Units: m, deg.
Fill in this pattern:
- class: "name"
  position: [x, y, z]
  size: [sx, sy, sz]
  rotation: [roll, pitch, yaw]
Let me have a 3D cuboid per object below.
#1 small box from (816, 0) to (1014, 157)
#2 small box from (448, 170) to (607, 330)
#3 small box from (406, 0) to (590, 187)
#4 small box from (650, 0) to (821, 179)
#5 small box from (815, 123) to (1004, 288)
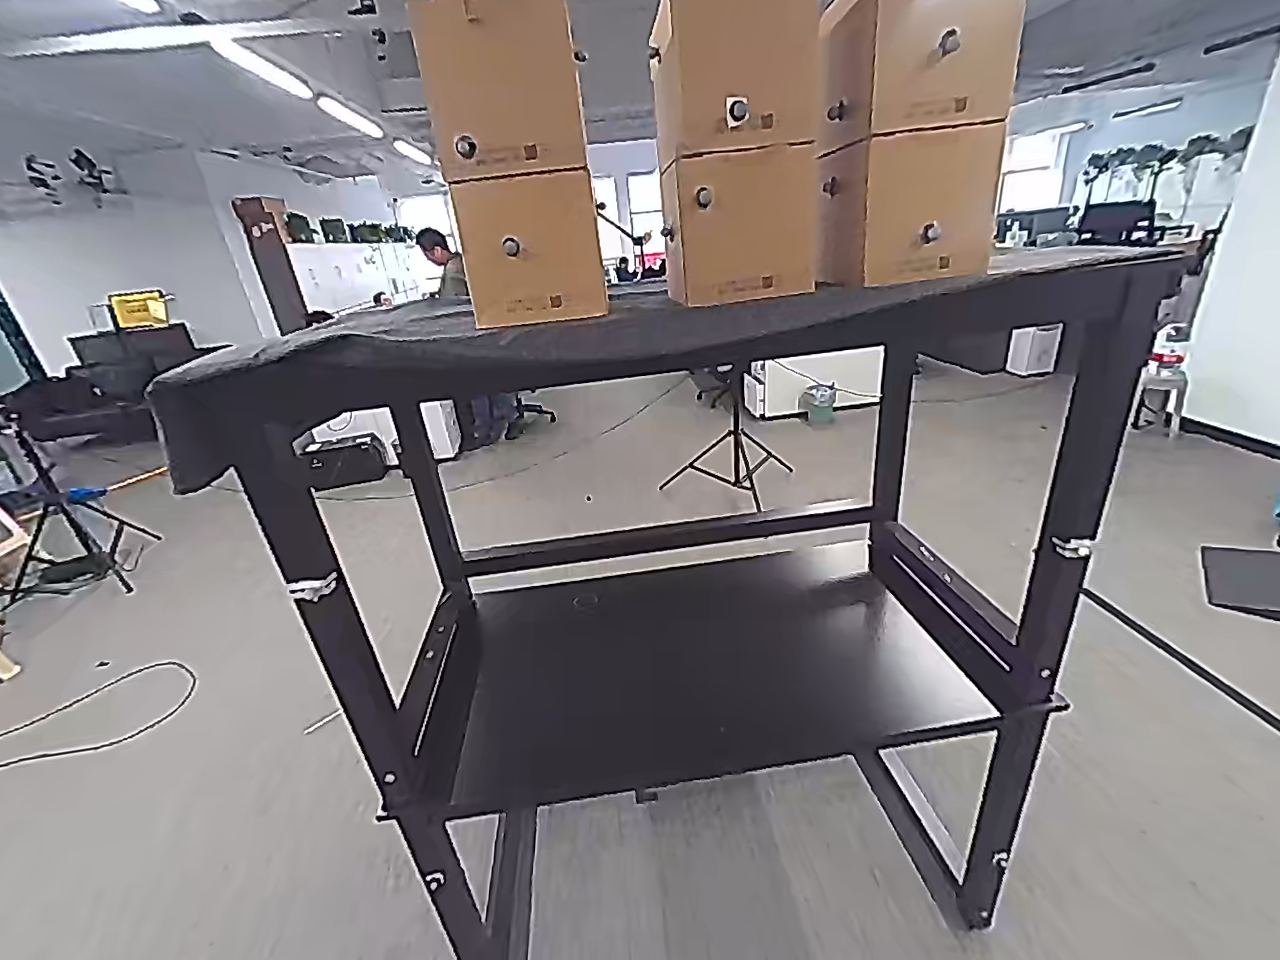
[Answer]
- class: "small box"
  position: [0.327, -0.508, 0.664]
  size: [0.168, 0.176, 0.179]
  rotation: [-7, 24, -1]
- class: "small box"
  position: [-0.135, -0.300, 0.725]
  size: [0.168, 0.176, 0.179]
  rotation: [-6, 23, -1]
- class: "small box"
  position: [-0.154, -0.449, 0.658]
  size: [0.168, 0.176, 0.179]
  rotation: [-7, 22, 0]
- class: "small box"
  position: [0.109, -0.481, 0.666]
  size: [0.168, 0.176, 0.179]
  rotation: [-9, 23, -3]
- class: "small box"
  position: [0.343, -0.357, 0.728]
  size: [0.168, 0.176, 0.179]
  rotation: [-8, 23, -1]
